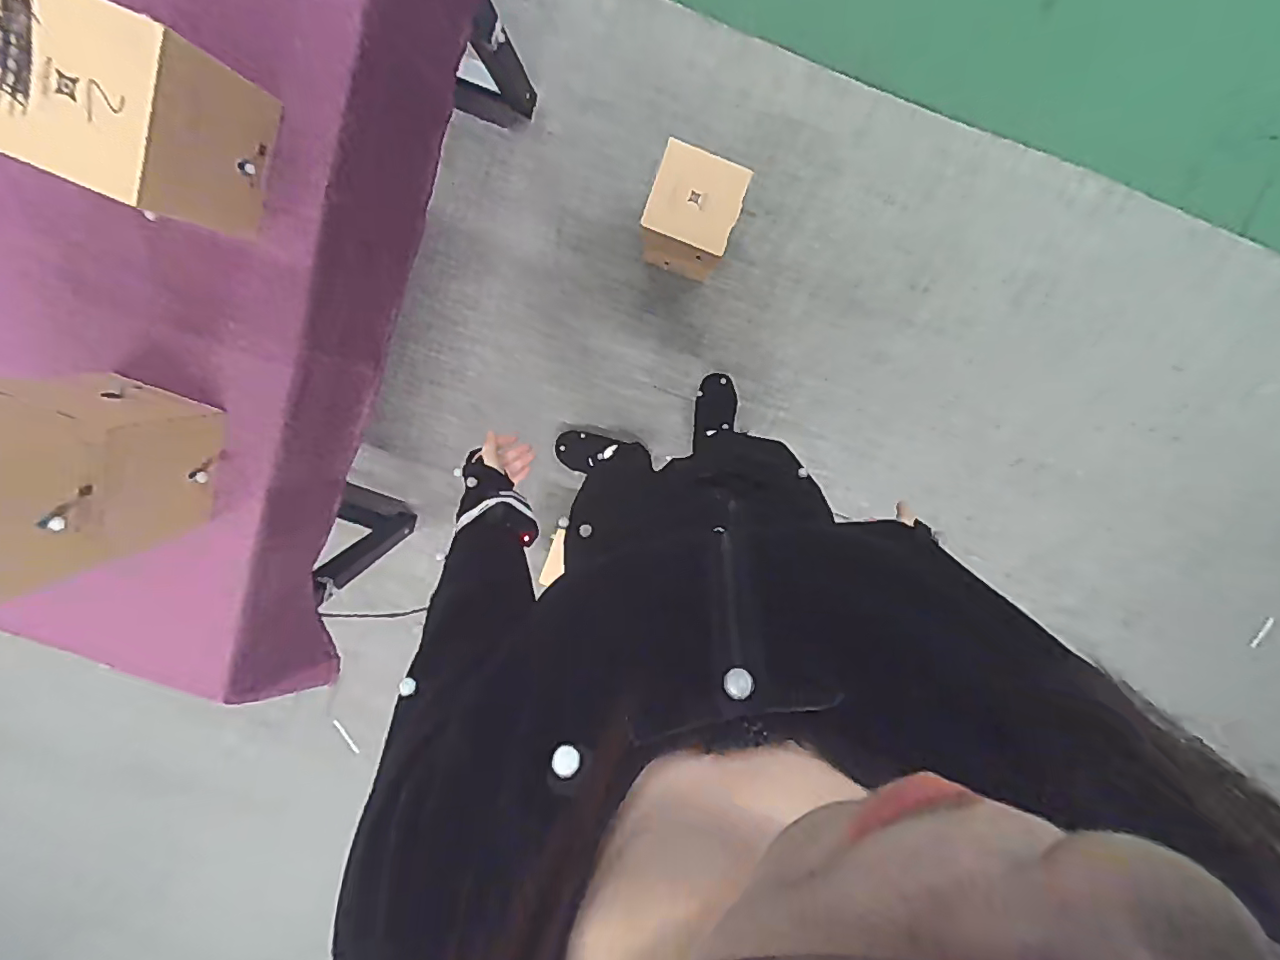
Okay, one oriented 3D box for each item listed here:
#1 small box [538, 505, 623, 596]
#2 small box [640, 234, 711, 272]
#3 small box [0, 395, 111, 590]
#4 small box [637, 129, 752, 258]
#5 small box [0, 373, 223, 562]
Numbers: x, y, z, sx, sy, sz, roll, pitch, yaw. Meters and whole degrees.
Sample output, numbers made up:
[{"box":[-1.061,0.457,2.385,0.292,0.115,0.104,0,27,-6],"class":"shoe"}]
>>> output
[{"box":[-0.156,0.185,1.480,0.179,0.176,0.168,21,104,-3],"class":"small box"},{"box":[0.106,-0.604,1.265,0.168,0.176,0.179,18,104,-4],"class":"small box"},{"box":[-0.683,0.013,0.521,0.179,0.176,0.168,20,105,-4],"class":"small box"},{"box":[0.104,-0.571,1.105,0.179,0.176,0.168,21,103,-4],"class":"small box"},{"box":[-0.674,-0.027,0.681,0.168,0.176,0.179,19,104,-3],"class":"small box"}]
